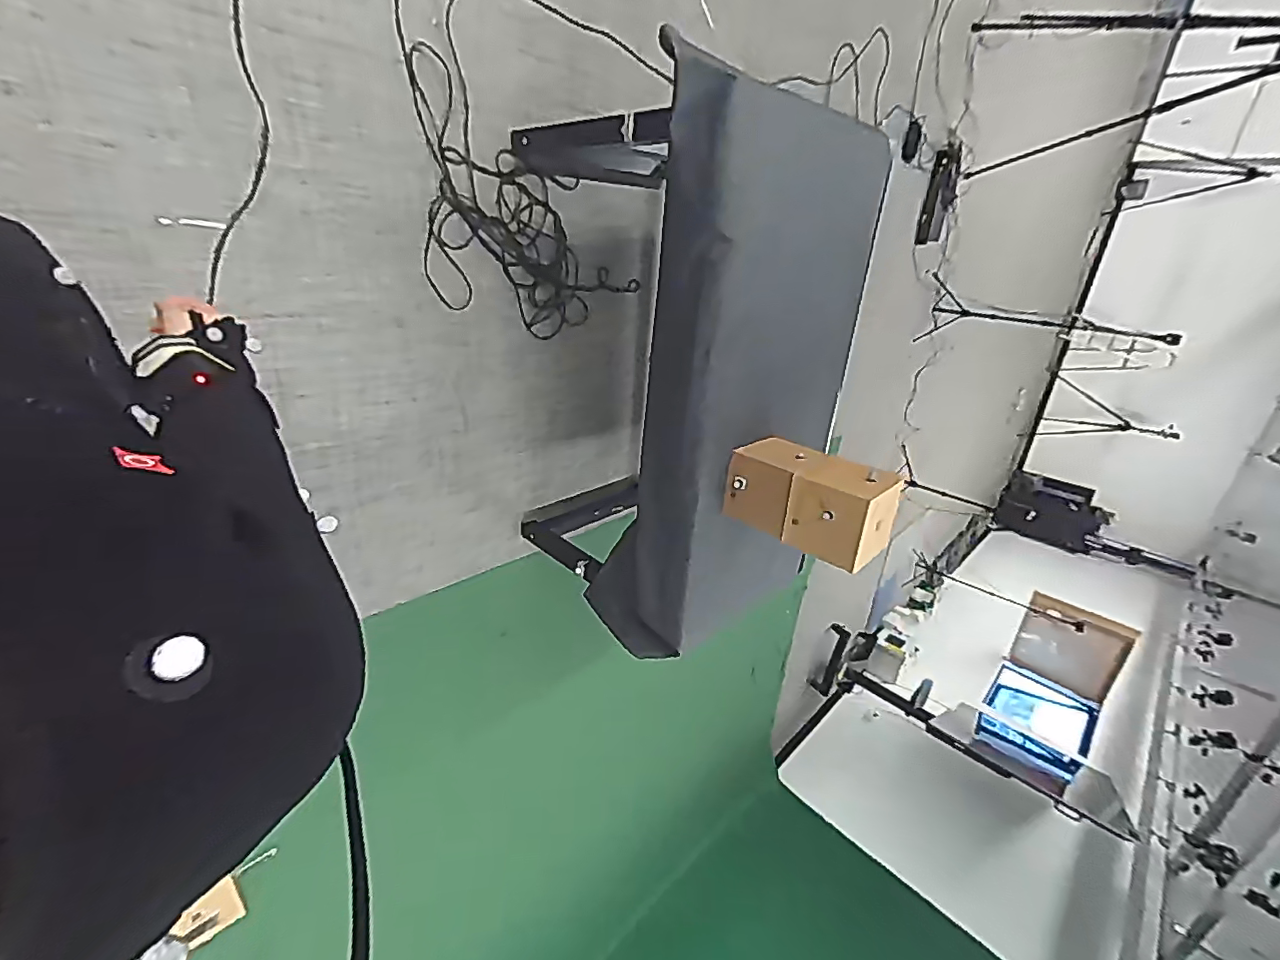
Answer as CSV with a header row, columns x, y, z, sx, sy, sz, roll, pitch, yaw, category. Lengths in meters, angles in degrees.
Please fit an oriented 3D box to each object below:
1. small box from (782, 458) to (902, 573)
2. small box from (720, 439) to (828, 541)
x,y,z,sx,sy,sz,roll,pitch,yaw,category
0.421,0.066,1.142,0.179,0.176,0.168,-20,123,-42,small box
0.312,0.014,1.251,0.179,0.176,0.168,-17,121,-41,small box
